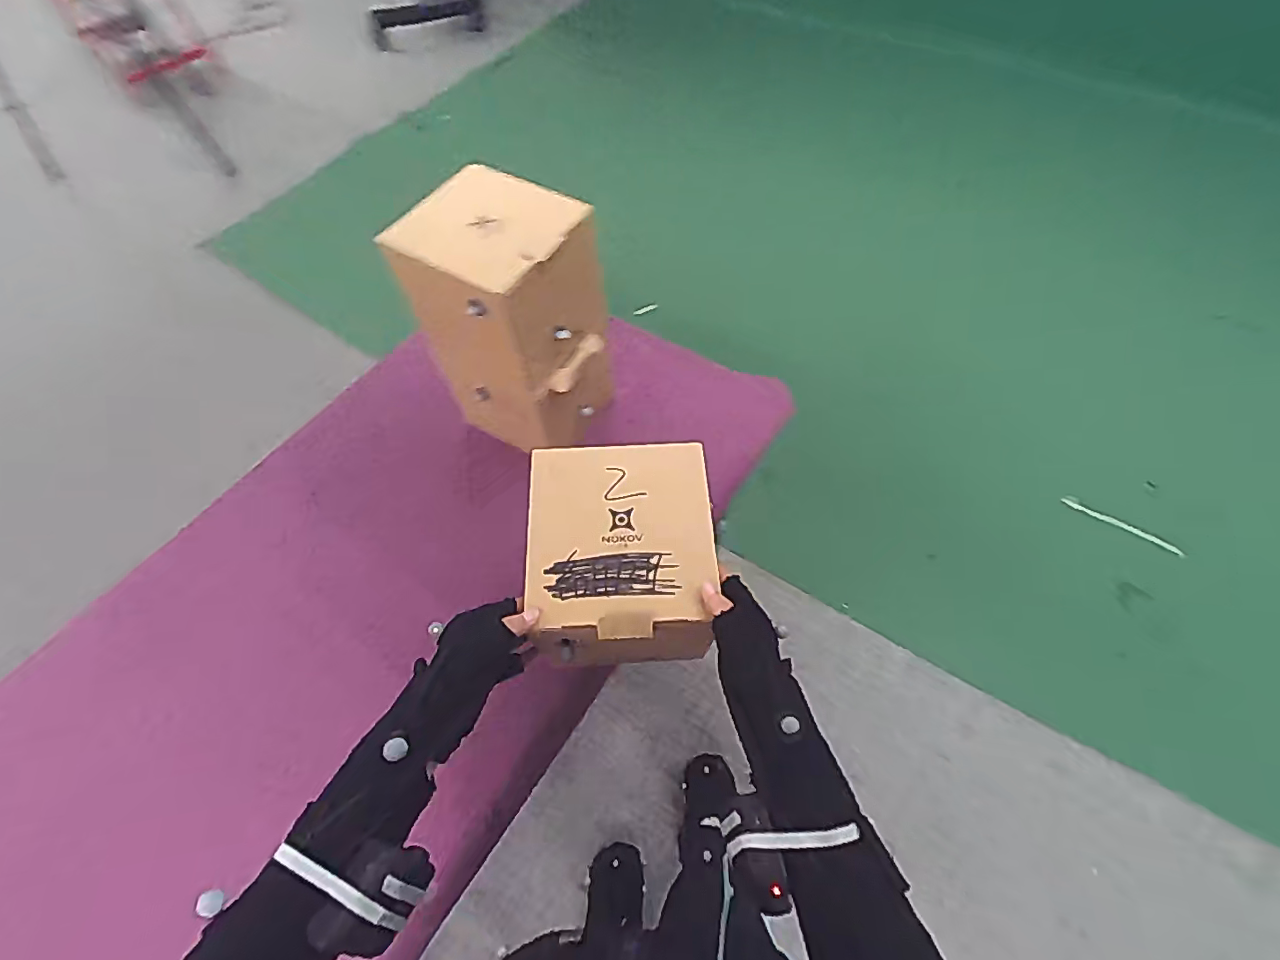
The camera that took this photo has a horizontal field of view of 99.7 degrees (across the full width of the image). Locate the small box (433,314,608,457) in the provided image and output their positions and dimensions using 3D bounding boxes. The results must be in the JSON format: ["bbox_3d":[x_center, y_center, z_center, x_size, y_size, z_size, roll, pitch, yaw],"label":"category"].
[{"bbox_3d":[-0.163,-0.161,0.802,0.179,0.176,0.168,26,65,15],"label":"small box"}]

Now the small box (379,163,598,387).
[{"bbox_3d":[-0.168,-0.244,0.662,0.179,0.176,0.168,27,65,15],"label":"small box"}]
